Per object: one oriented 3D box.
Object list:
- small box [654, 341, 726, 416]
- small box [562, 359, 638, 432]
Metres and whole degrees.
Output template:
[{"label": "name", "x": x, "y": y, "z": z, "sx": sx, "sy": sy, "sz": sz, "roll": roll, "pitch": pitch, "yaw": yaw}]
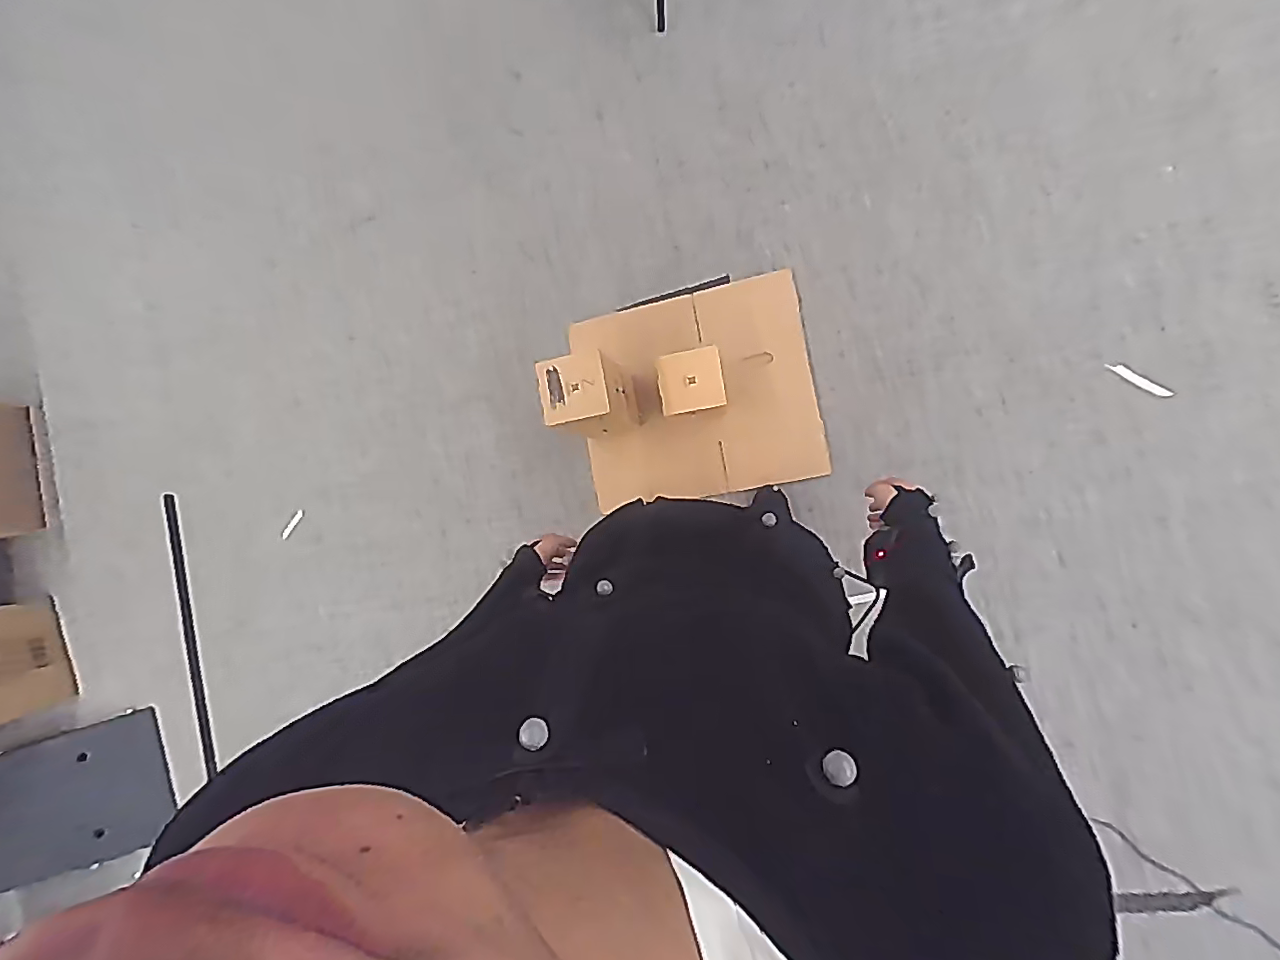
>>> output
[{"label": "small box", "x": 0.148, "y": -0.282, "z": 1.537, "sx": 0.179, "sy": 0.176, "sz": 0.168, "roll": -9, "pitch": 89, "yaw": 12}, {"label": "small box", "x": -0.110, "y": -0.242, "z": 1.588, "sx": 0.179, "sy": 0.176, "sz": 0.168, "roll": -11, "pitch": 88, "yaw": 13}]
